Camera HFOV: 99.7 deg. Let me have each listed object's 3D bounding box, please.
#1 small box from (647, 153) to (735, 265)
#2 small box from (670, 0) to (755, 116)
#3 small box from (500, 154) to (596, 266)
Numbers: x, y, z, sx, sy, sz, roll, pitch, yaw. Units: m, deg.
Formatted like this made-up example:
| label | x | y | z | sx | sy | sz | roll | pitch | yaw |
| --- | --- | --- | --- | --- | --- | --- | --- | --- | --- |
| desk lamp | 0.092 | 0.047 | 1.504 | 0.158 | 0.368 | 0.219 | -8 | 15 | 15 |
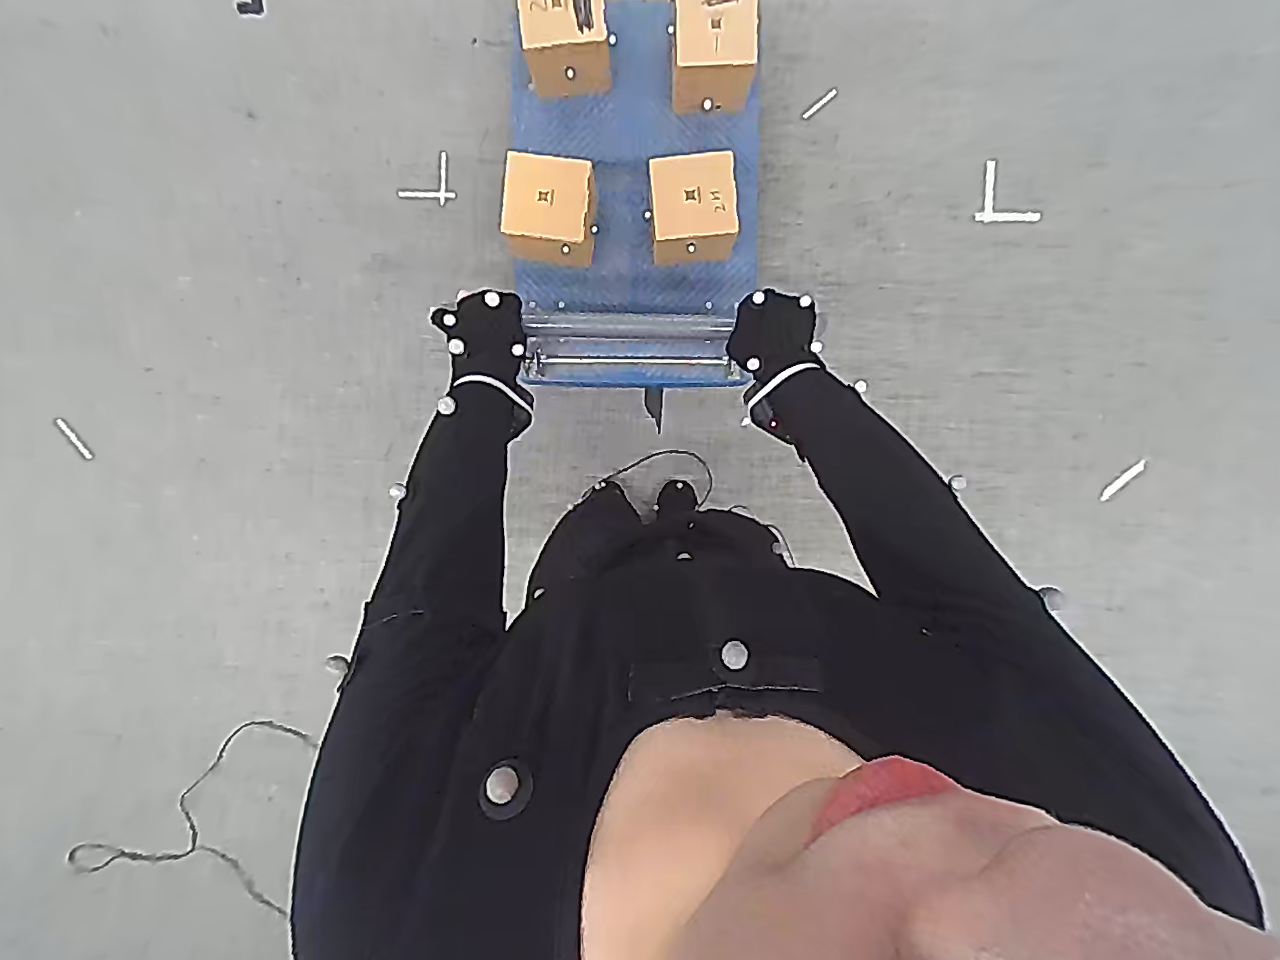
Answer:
| label | x | y | z | sx | sy | sz | roll | pitch | yaw |
| --- | --- | --- | --- | --- | --- | --- | --- | --- | --- |
| small box | 0.109 | -0.591 | 1.201 | 0.179 | 0.176 | 0.168 | -5 | 94 | 1 |
| small box | 0.151 | -0.934 | 1.177 | 0.168 | 0.176 | 0.179 | -1 | 95 | 1 |
| small box | -0.198 | -0.592 | 1.204 | 0.179 | 0.176 | 0.168 | 6 | 94 | -1 |
